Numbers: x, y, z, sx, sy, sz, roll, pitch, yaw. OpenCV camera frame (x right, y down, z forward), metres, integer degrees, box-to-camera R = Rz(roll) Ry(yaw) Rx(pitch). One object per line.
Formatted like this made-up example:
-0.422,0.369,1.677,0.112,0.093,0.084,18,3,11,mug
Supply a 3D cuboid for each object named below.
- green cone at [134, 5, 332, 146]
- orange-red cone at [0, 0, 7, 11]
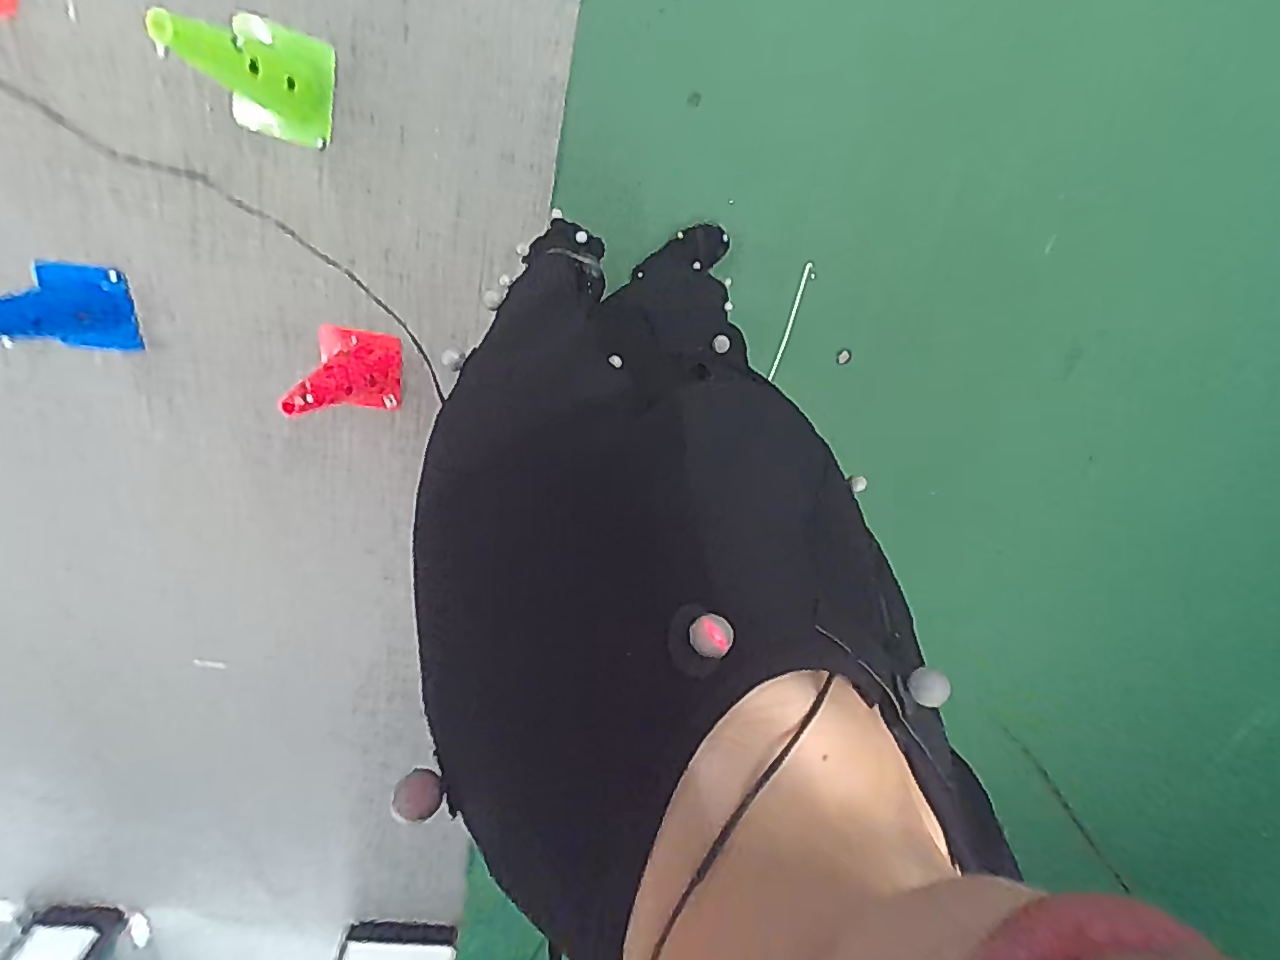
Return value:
-0.752,-0.774,0.987,0.202,0.368,0.200,13,112,-8,green cone
-1.339,-0.945,0.878,0.199,0.360,0.198,-7,115,-2,orange-red cone
